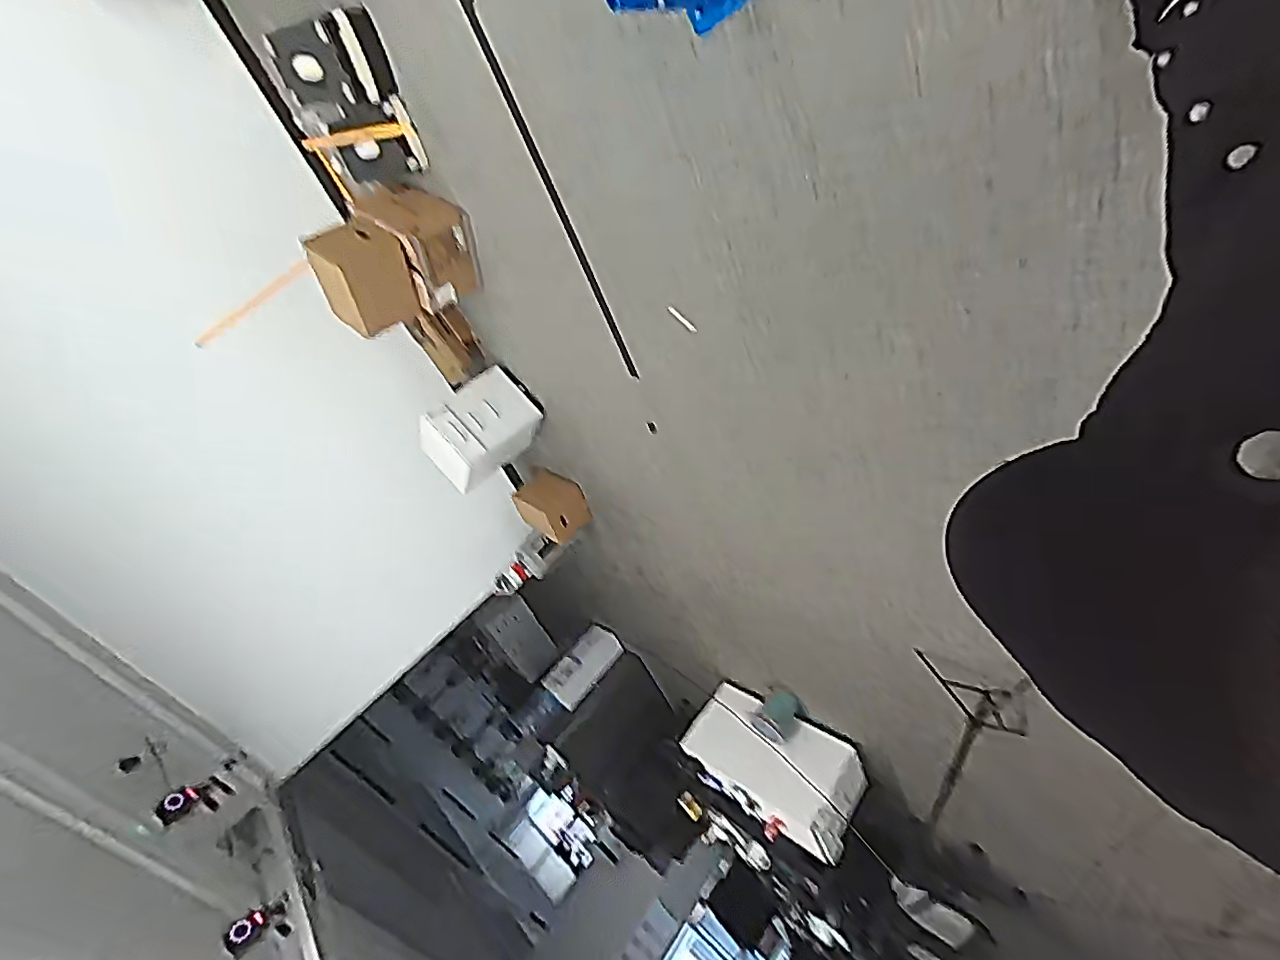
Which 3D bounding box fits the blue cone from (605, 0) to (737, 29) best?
[{"bbox_3d":[0.050,-1.108,1.195,0.193,0.380,0.192,6,131,51],"label":"blue cone"}]
